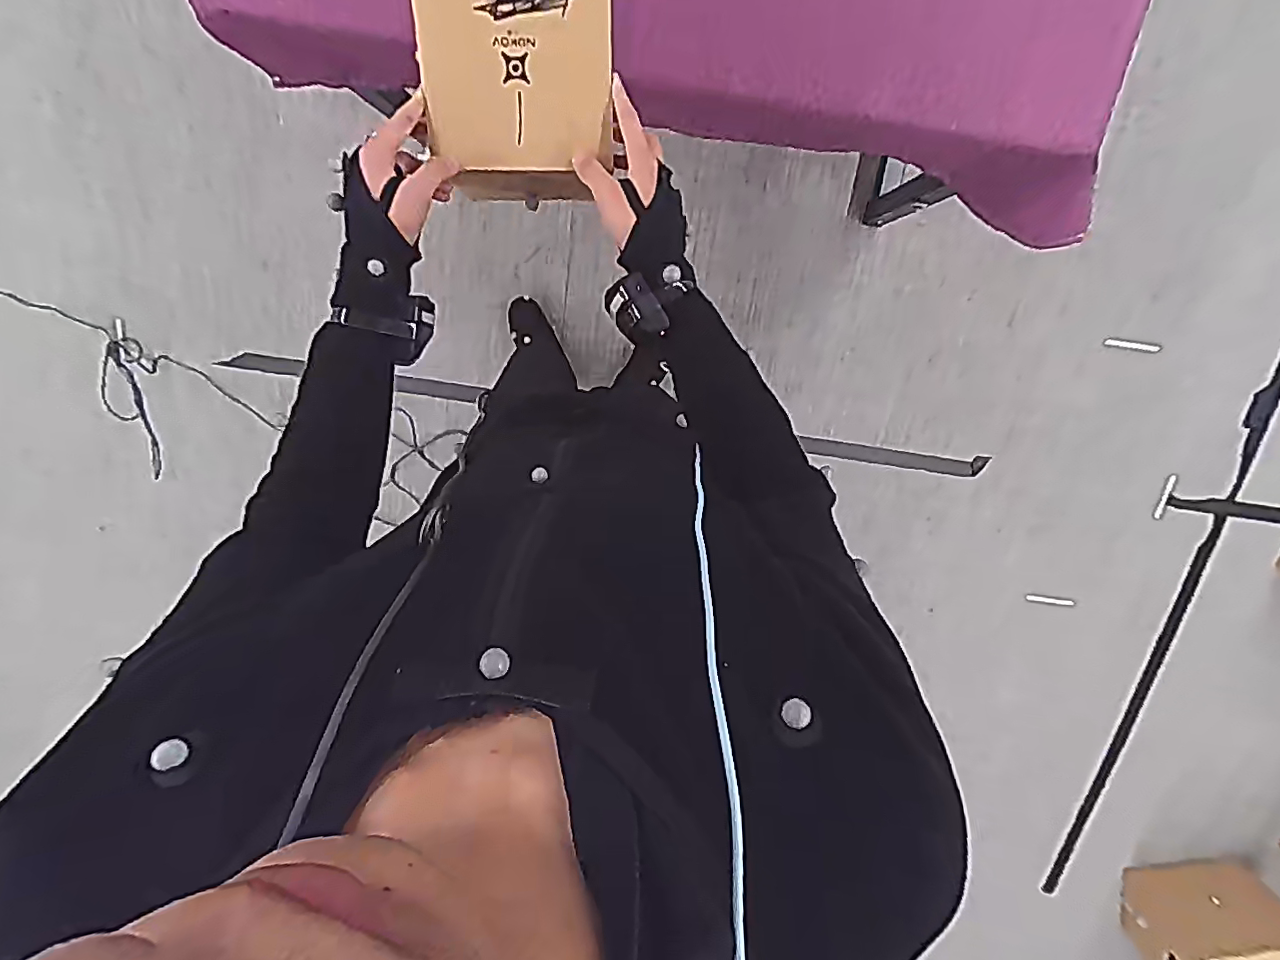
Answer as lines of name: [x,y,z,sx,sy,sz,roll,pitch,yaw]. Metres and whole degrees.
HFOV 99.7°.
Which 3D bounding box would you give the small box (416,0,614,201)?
small box: [-0.112,-0.391,0.539,0.168,0.176,0.179,-2,110,-4]
